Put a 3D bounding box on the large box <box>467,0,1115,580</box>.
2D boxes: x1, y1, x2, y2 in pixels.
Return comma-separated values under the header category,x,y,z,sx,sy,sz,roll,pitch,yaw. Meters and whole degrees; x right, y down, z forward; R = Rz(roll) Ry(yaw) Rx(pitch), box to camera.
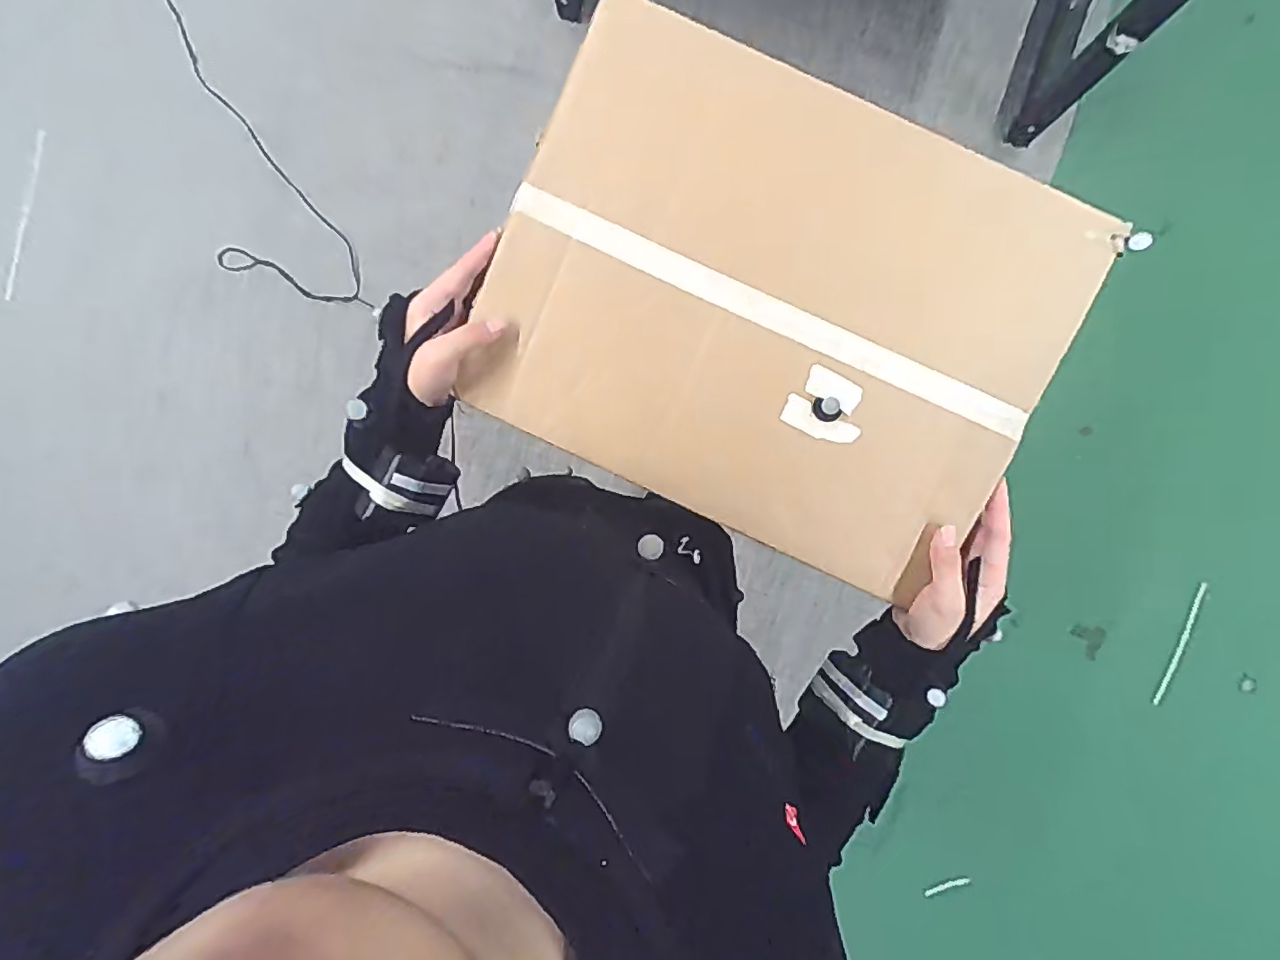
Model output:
category,x,y,z,sx,sy,sz,roll,pitch,yaw
large box,0.108,-0.151,0.551,0.408,0.320,0.320,24,97,-1
